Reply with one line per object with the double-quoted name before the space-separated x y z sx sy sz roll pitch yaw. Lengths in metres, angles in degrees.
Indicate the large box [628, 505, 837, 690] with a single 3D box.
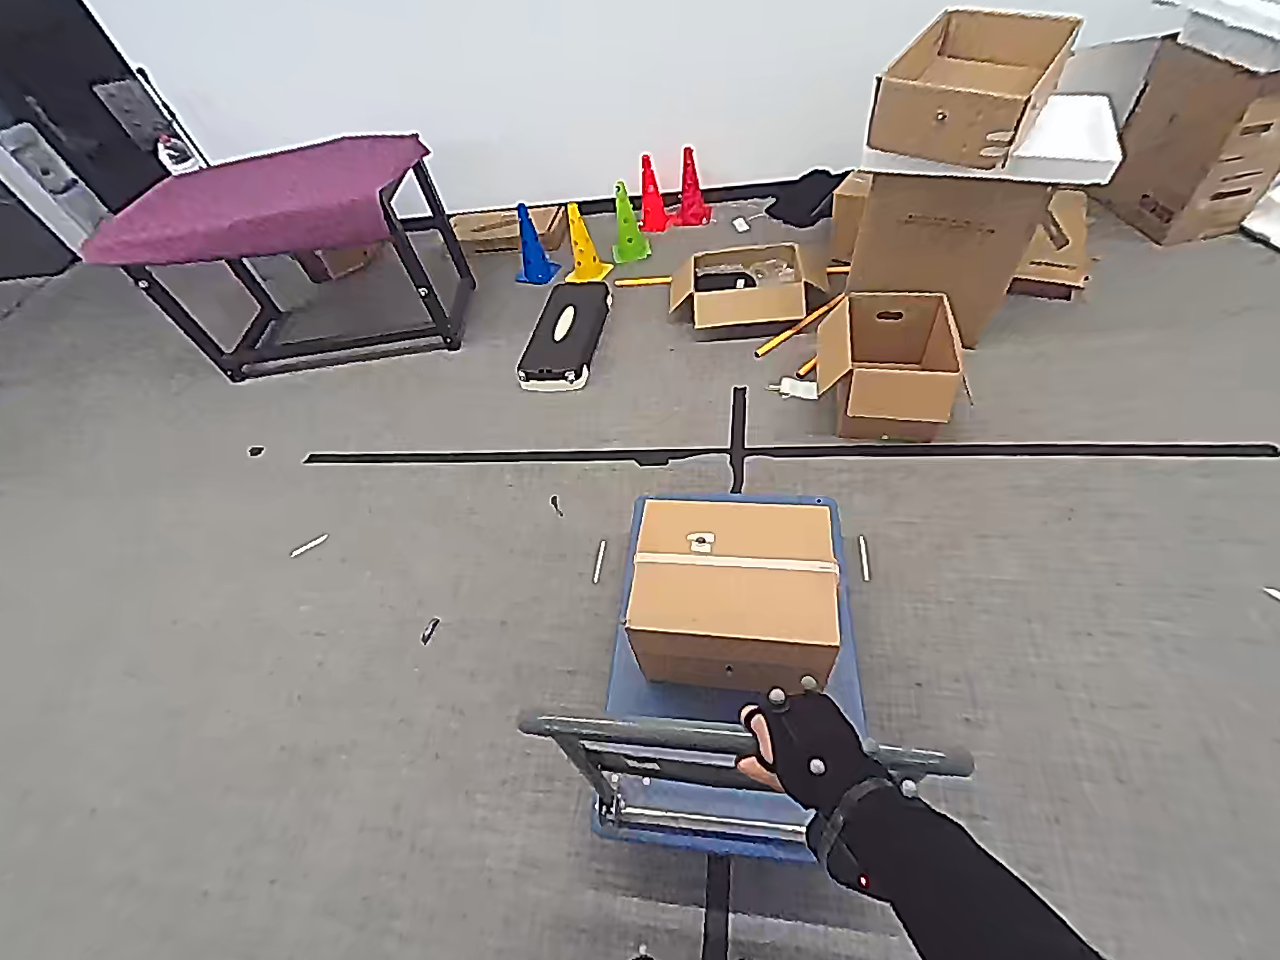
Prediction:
"large box" 0.212 0.271 1.241 0.408 0.320 0.320 1 51 12
